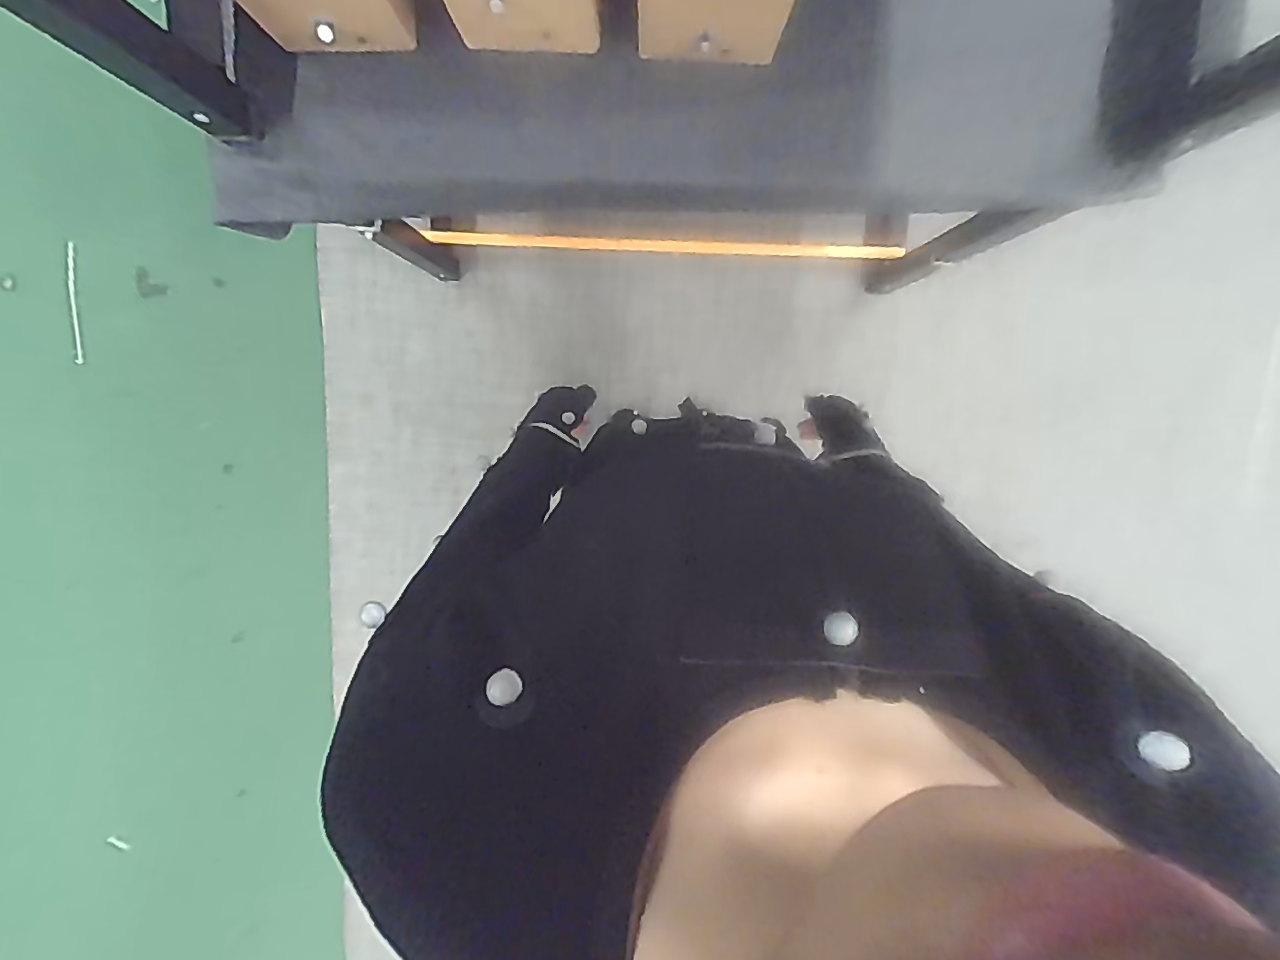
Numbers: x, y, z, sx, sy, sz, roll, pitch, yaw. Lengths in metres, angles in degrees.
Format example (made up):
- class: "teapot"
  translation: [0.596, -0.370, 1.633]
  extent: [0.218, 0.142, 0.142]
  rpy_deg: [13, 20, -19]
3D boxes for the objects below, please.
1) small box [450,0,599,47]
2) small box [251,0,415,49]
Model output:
- class: "small box"
  translation: [-0.130, -0.608, 0.578]
  extent: [0.168, 0.176, 0.179]
  rpy_deg: [2, 97, 0]
- class: "small box"
  translation: [-0.357, -0.610, 0.577]
  extent: [0.168, 0.176, 0.179]
  rpy_deg: [0, 98, 1]
